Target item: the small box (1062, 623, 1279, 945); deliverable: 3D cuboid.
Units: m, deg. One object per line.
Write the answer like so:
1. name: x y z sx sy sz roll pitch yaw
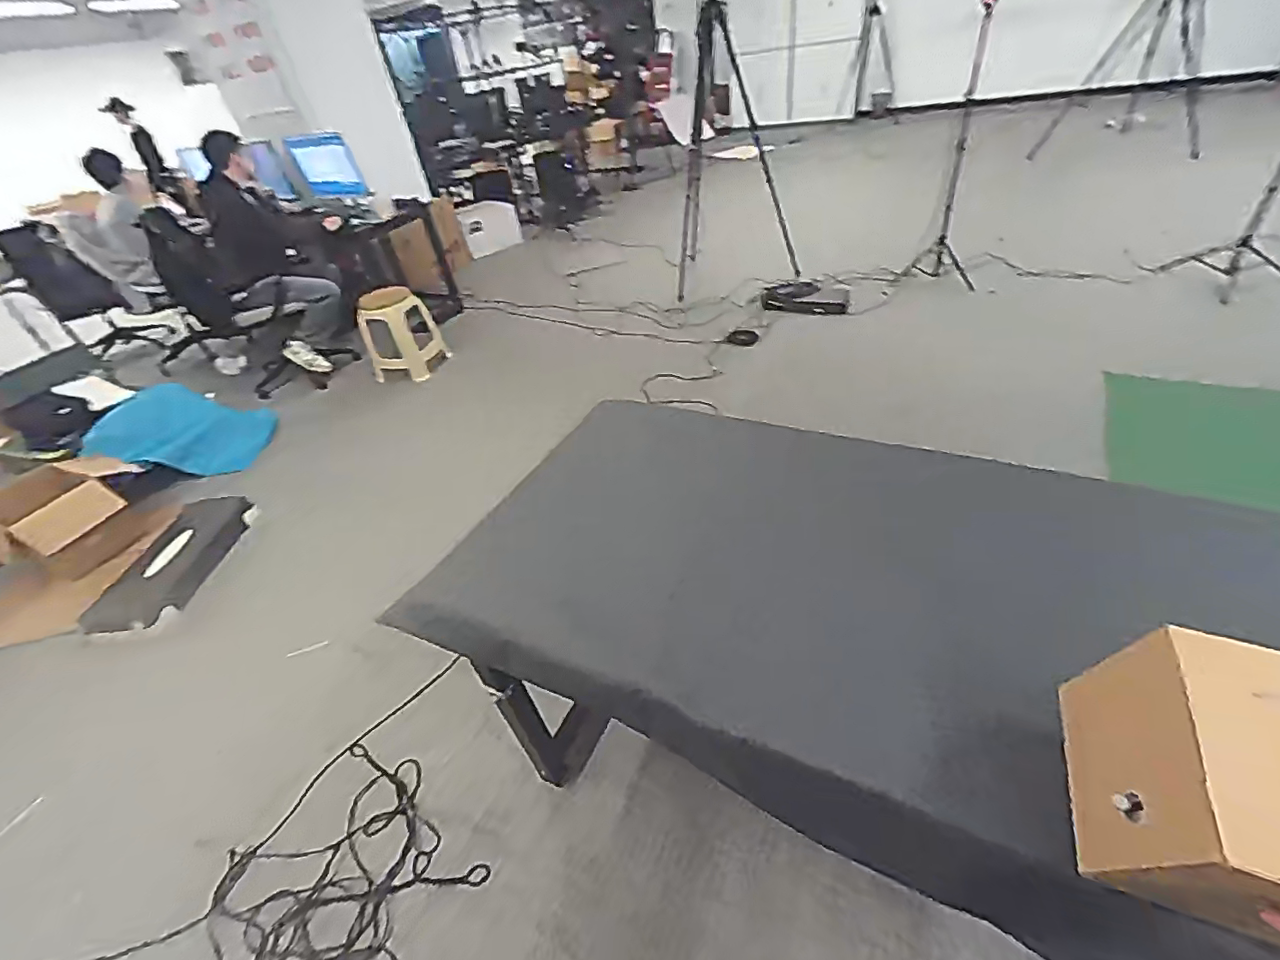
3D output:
1. small box: 0.479 0.247 0.430 0.168 0.176 0.179 13 54 13
